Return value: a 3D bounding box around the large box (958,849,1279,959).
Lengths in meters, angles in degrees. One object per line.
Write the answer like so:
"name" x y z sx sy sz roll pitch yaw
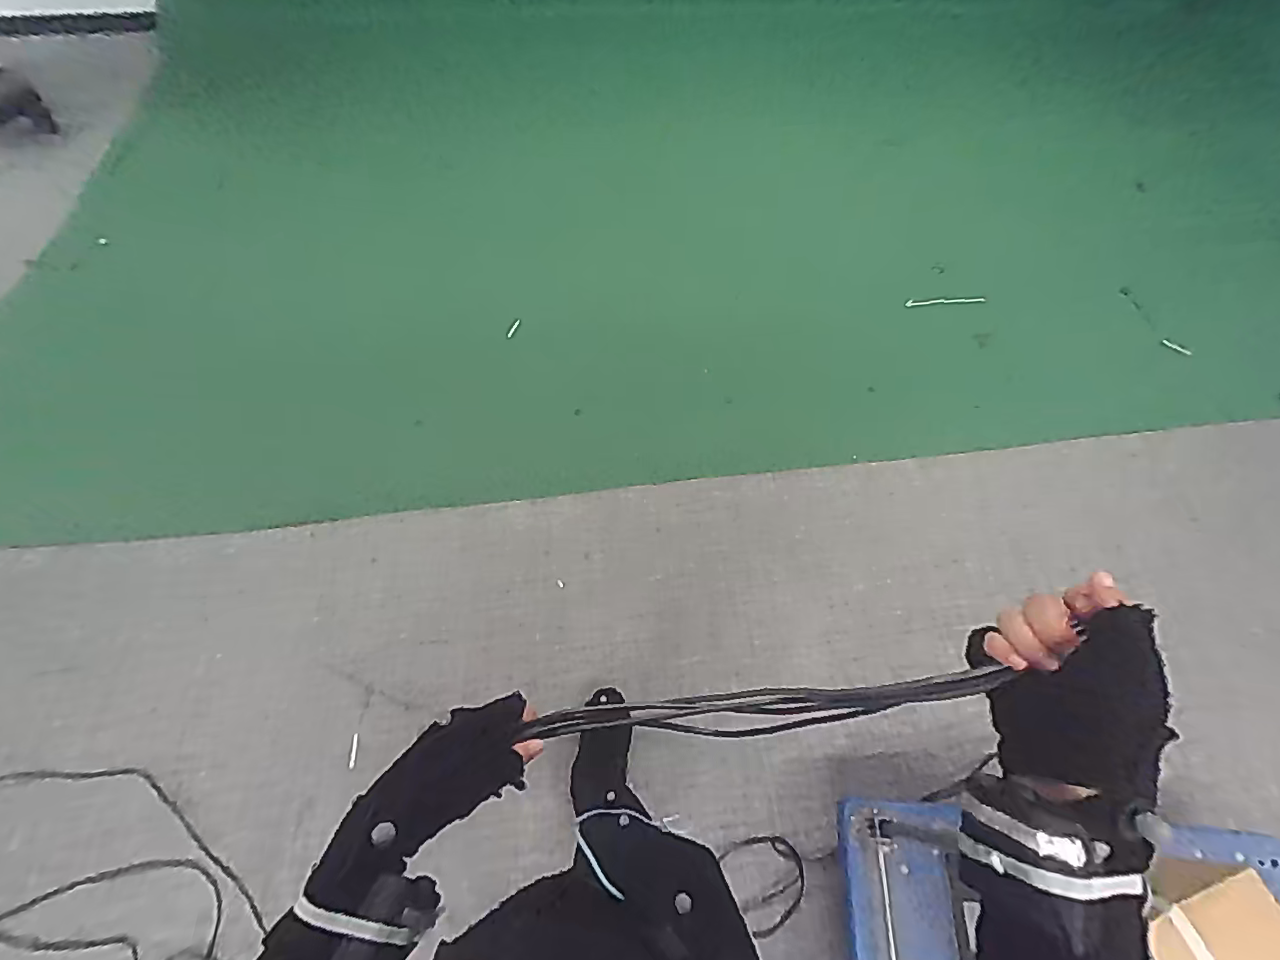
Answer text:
"large box" 0.790 0.845 0.810 0.320 0.320 0.408 -14 61 -9
